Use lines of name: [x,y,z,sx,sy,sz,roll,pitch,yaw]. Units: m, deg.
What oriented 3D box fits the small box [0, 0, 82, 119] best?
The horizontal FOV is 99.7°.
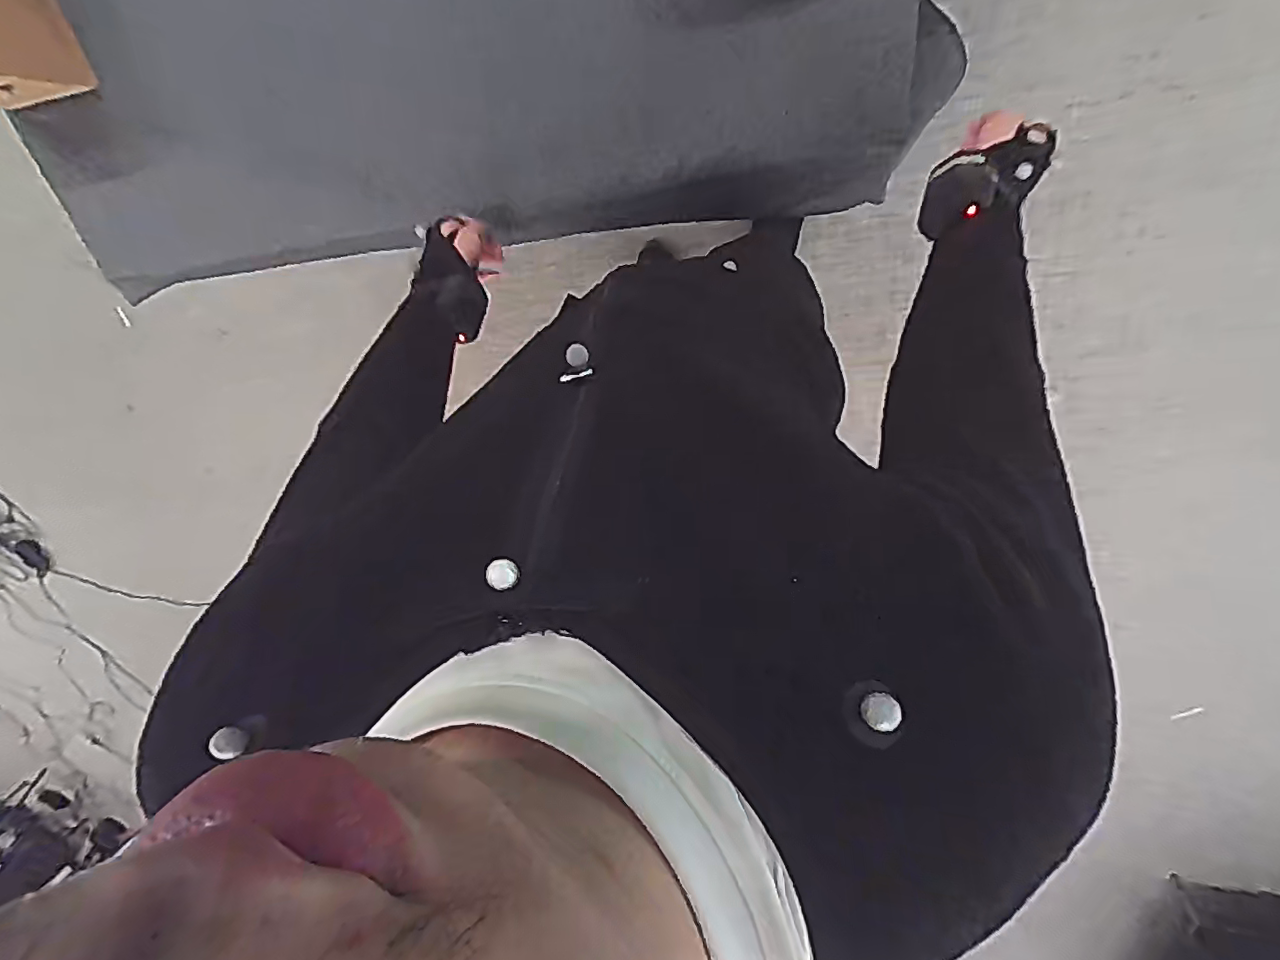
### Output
small box: [-0.838,-0.544,0.644,0.179,0.176,0.168,0,118,12]
